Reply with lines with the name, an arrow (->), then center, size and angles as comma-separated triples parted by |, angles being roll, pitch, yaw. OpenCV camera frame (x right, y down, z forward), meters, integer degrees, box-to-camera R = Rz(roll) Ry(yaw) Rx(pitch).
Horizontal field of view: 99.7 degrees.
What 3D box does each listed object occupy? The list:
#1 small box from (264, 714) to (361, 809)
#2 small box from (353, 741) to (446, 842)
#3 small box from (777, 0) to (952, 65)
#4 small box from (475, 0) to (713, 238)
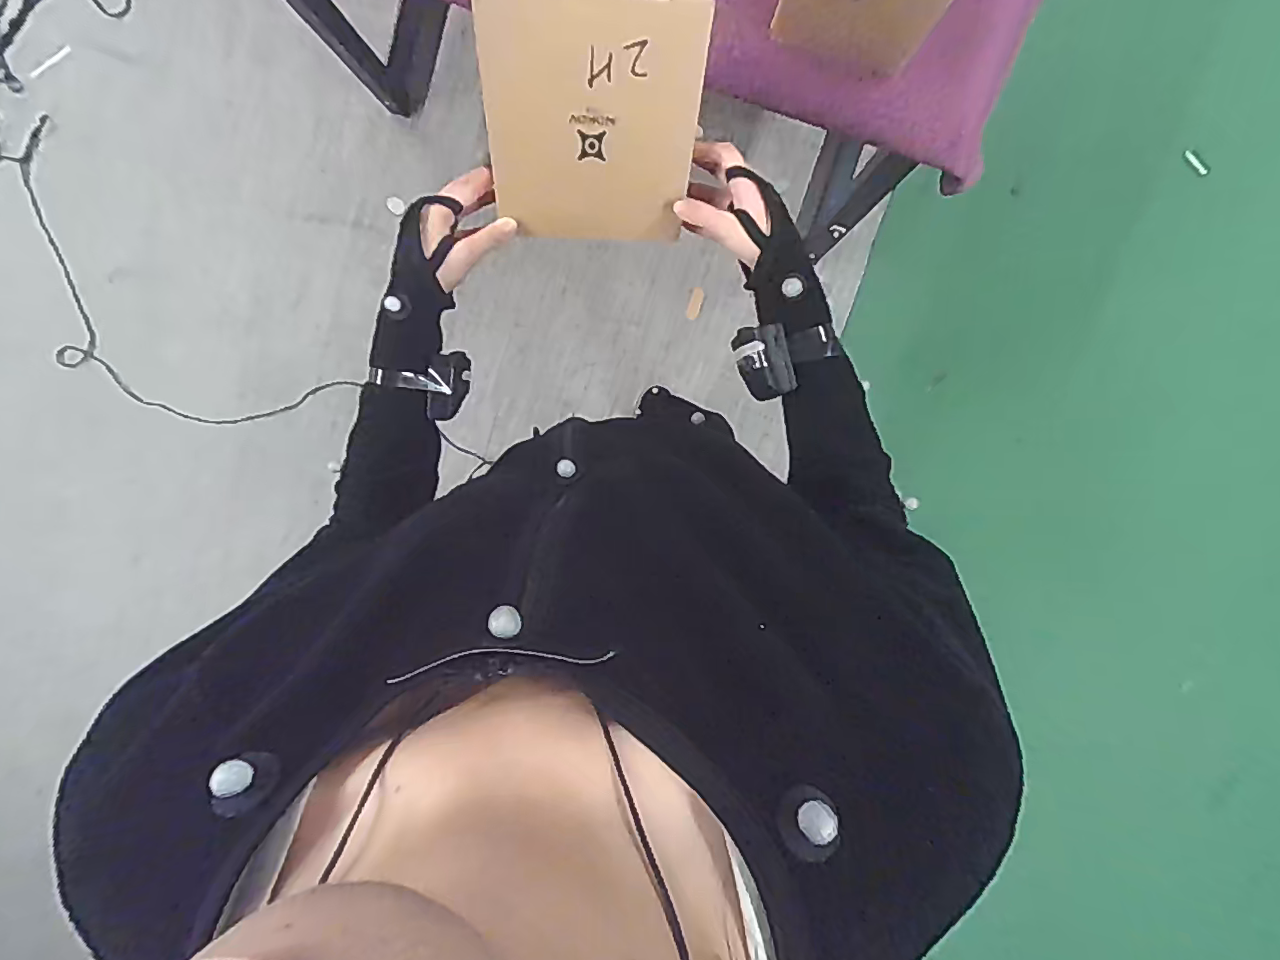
small box -> -0.930, 0.798, 1.549 | 0.179, 0.176, 0.168 | 10, 97, 2
small box -> -0.678, 0.879, 1.544 | 0.179, 0.176, 0.168 | 13, 97, 3
small box -> 0.270, -0.606, 0.597 | 0.179, 0.176, 0.168 | 17, 99, 2
small box -> -0.043, -0.342, 0.478 | 0.168, 0.176, 0.179 | -2, 142, -7
